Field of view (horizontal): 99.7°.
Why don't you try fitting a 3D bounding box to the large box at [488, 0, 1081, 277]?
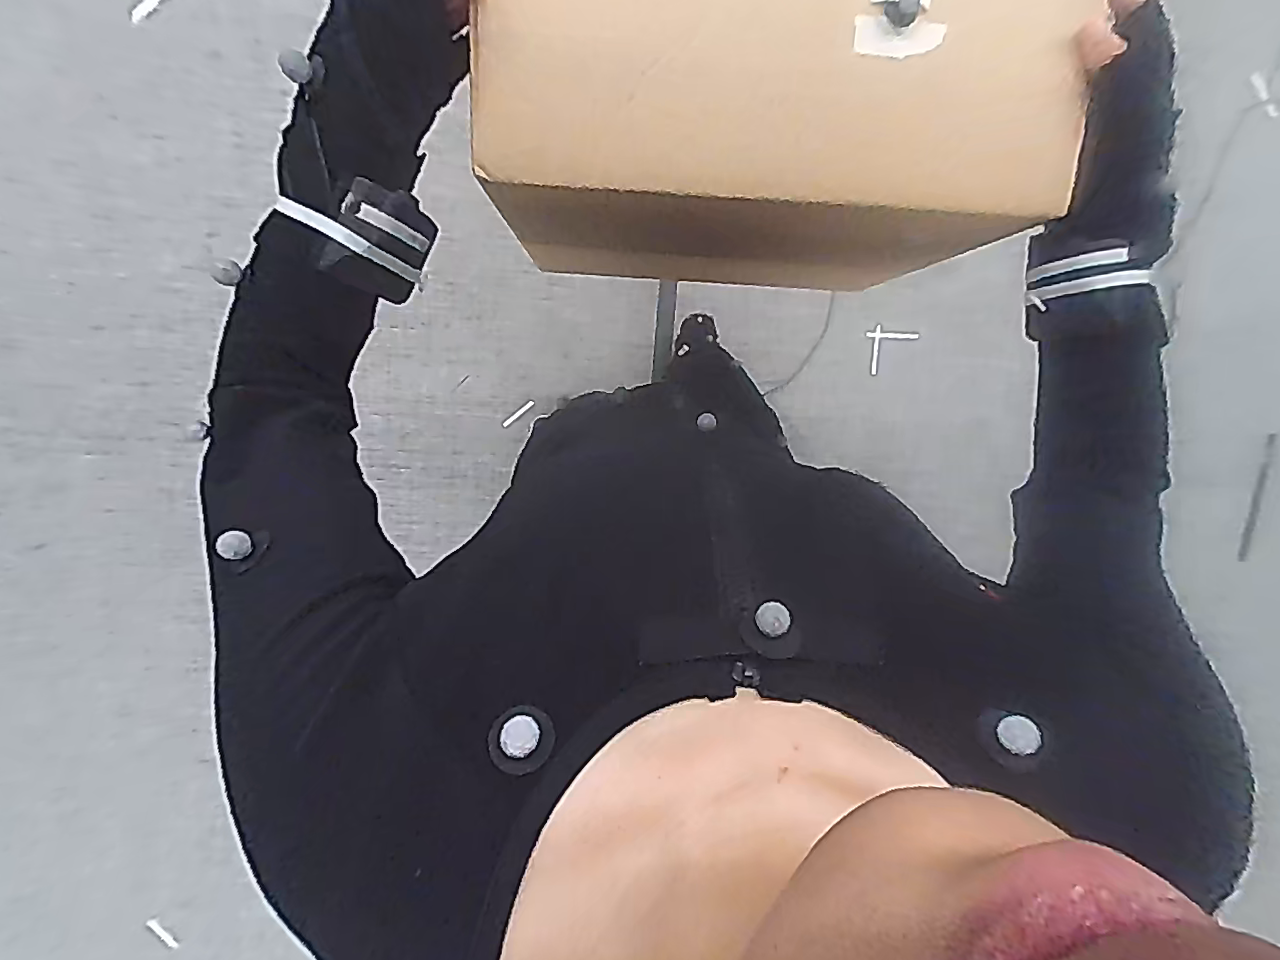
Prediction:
[{"bbox_3d":[0.090,-0.379,0.496,0.408,0.320,0.320,1,101,-4],"label":"large box"}]
